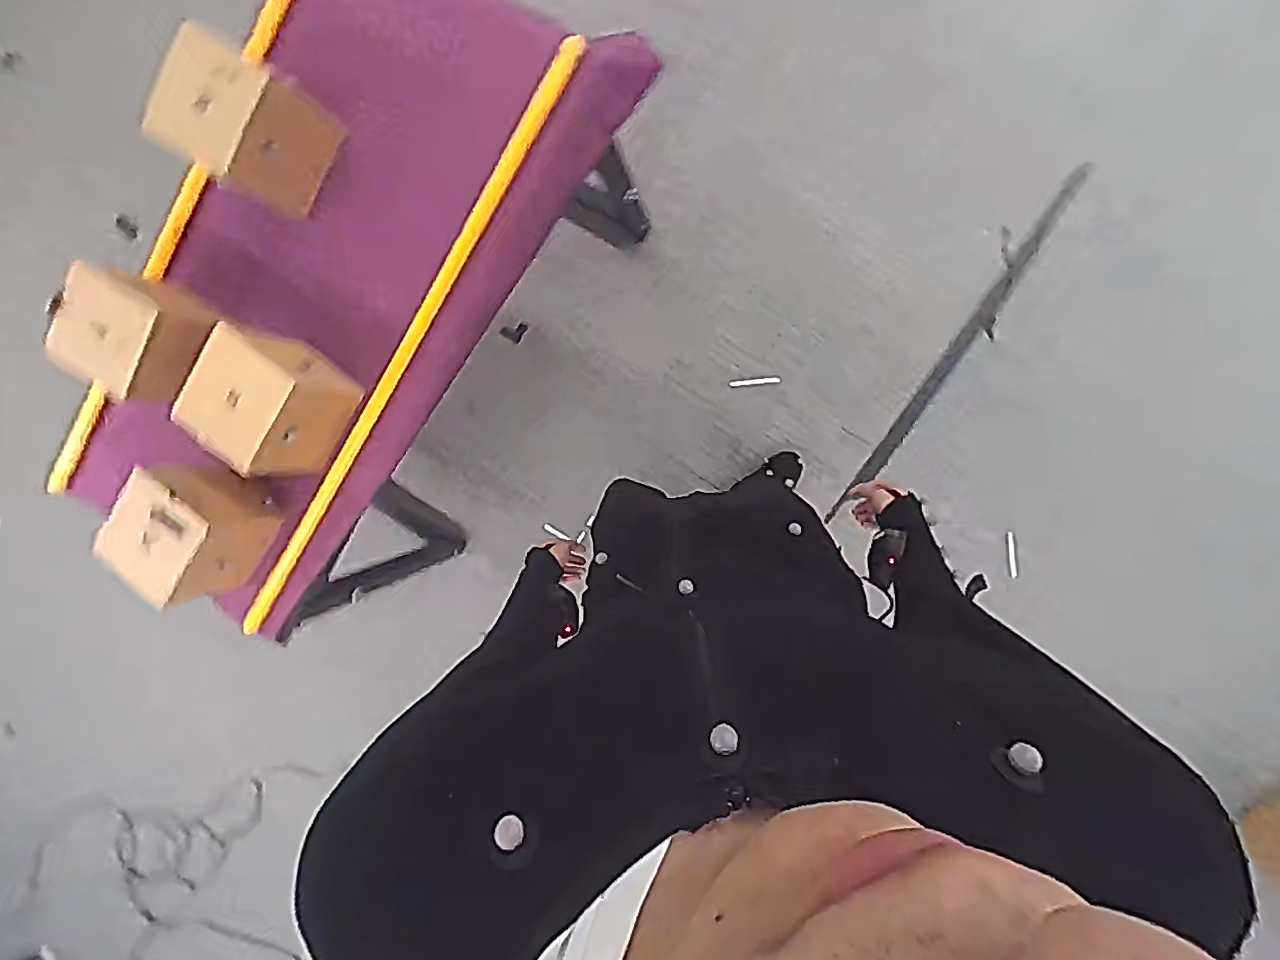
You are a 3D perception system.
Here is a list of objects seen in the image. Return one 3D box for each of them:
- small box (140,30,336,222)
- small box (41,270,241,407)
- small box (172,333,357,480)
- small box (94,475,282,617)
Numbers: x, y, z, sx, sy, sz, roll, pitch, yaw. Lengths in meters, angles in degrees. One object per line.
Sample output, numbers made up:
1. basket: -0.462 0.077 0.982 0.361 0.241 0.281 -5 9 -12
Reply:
1. small box: -0.648 -0.565 0.893 0.168 0.176 0.179 33 99 4
2. small box: -0.869 -0.235 0.956 0.179 0.176 0.168 30 99 5
3. small box: -0.626 -0.121 0.926 0.168 0.176 0.179 35 100 5
4. small box: -0.791 0.105 0.967 0.168 0.176 0.179 37 99 5
